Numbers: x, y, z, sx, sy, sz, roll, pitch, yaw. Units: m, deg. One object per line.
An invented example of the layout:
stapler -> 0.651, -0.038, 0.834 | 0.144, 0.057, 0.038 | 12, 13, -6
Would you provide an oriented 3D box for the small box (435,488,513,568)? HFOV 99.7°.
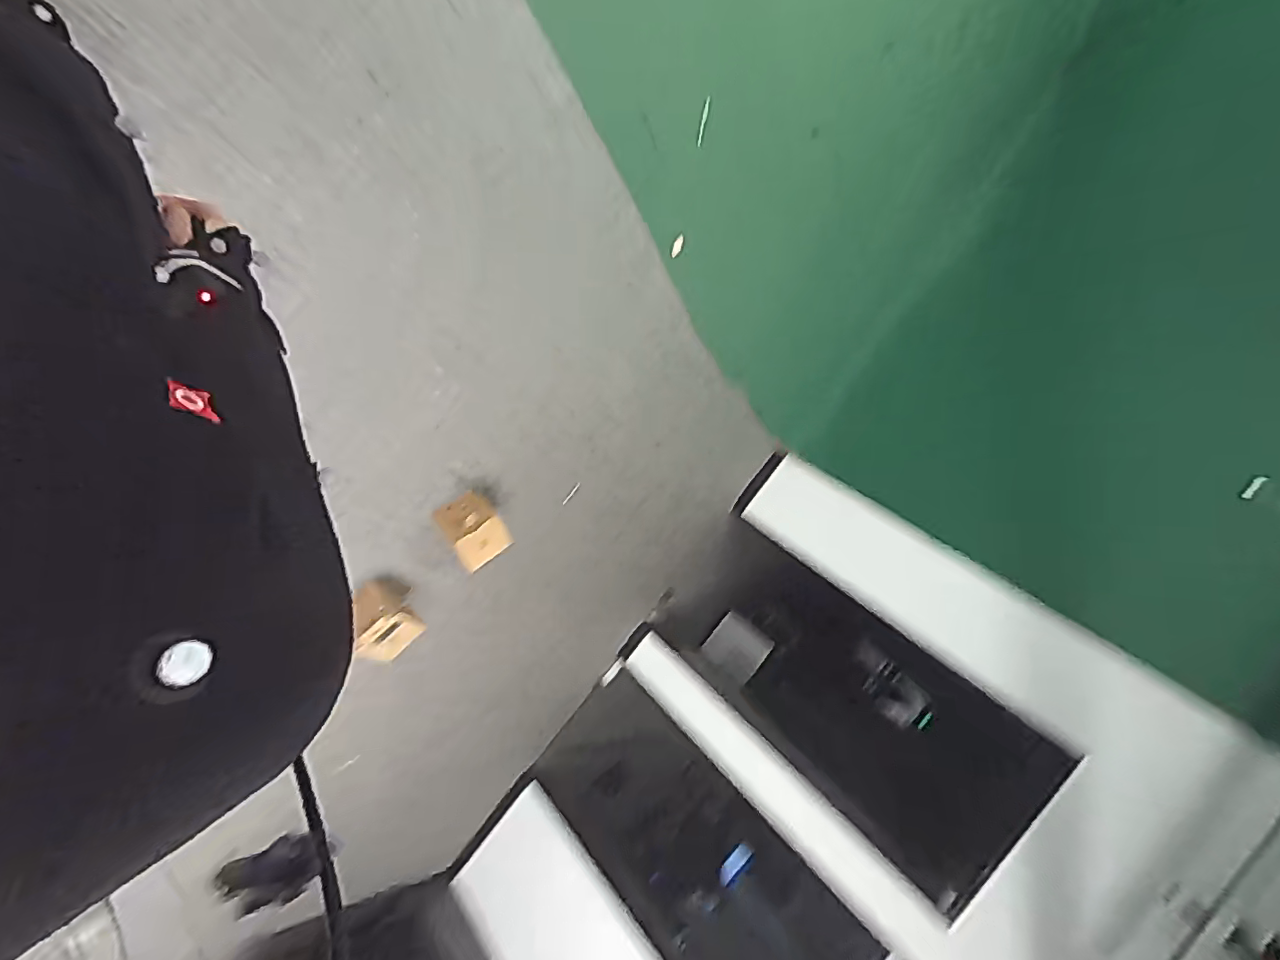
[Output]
small box -> -0.565, 0.161, 1.842 | 0.168, 0.176, 0.179 | -38, 145, -21
